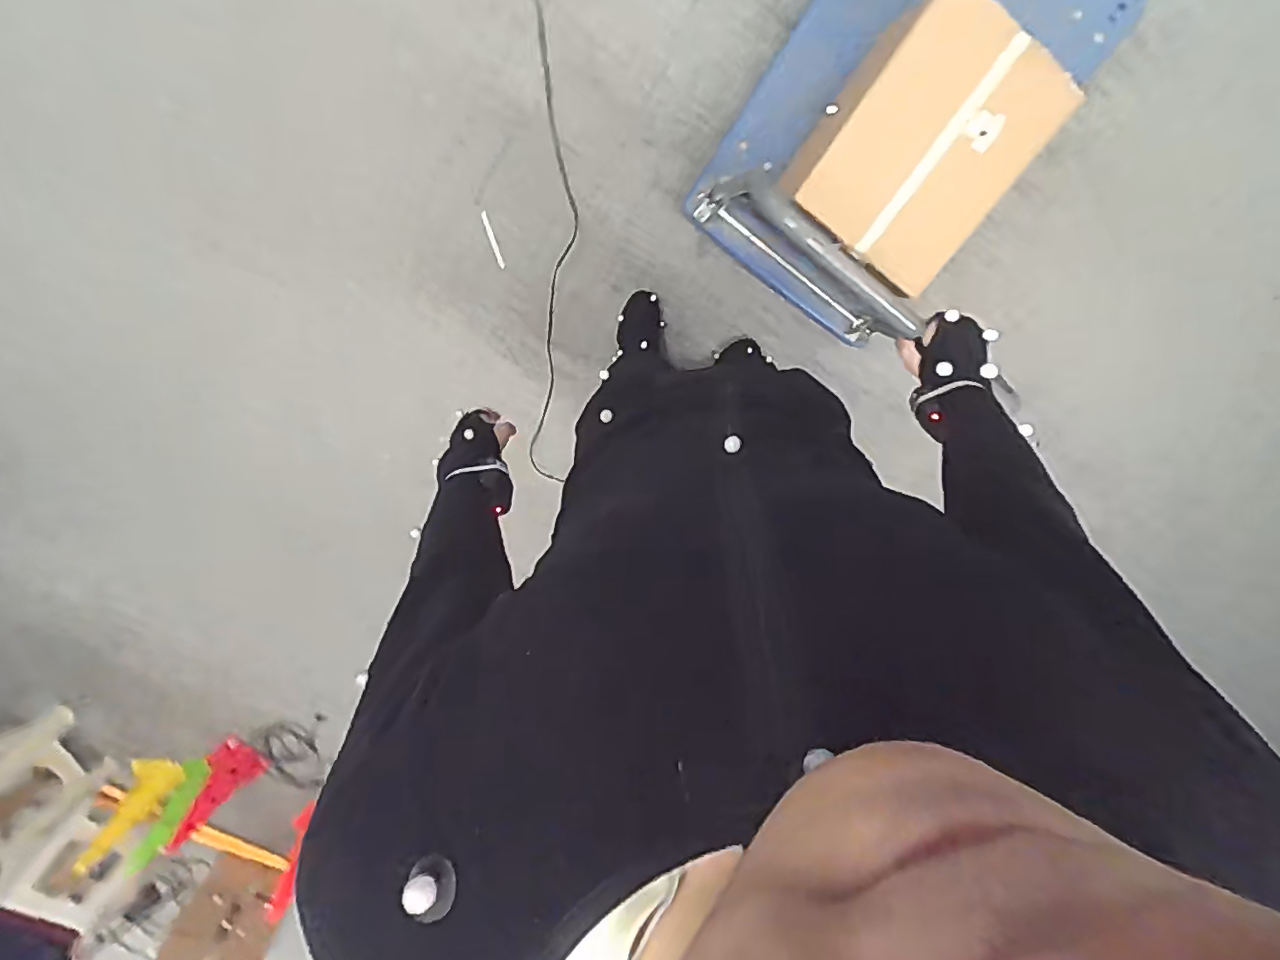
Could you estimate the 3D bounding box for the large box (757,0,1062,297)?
[{"bbox_3d":[0.501,-0.636,1.104,0.320,0.320,0.408,32,108,-13],"label":"large box"}]
